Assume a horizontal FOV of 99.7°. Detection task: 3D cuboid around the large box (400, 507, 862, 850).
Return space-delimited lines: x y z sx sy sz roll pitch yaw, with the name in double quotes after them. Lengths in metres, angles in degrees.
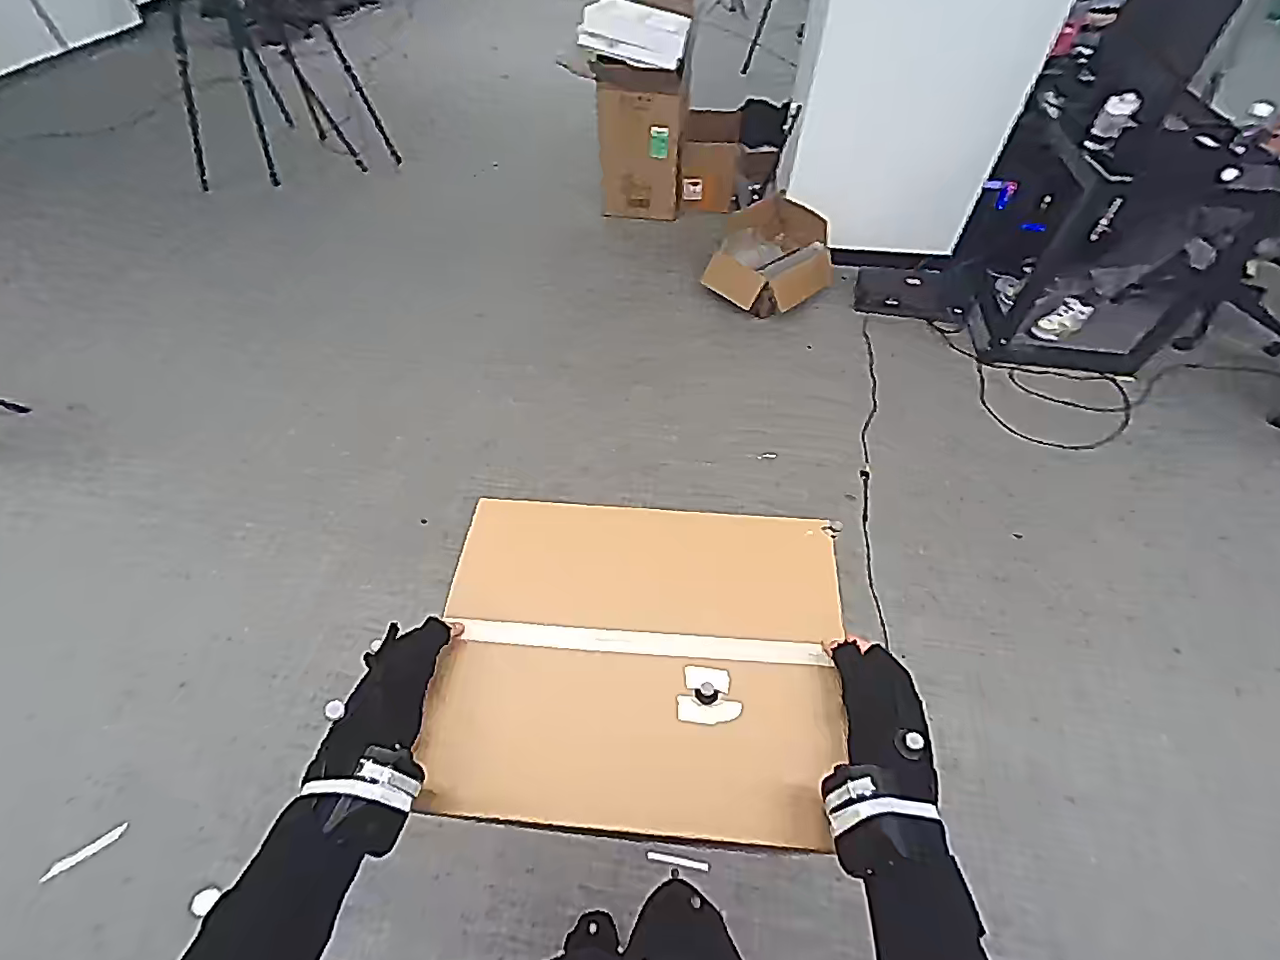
-0.003 0.252 0.663 0.408 0.320 0.320 4 55 3 "large box"
